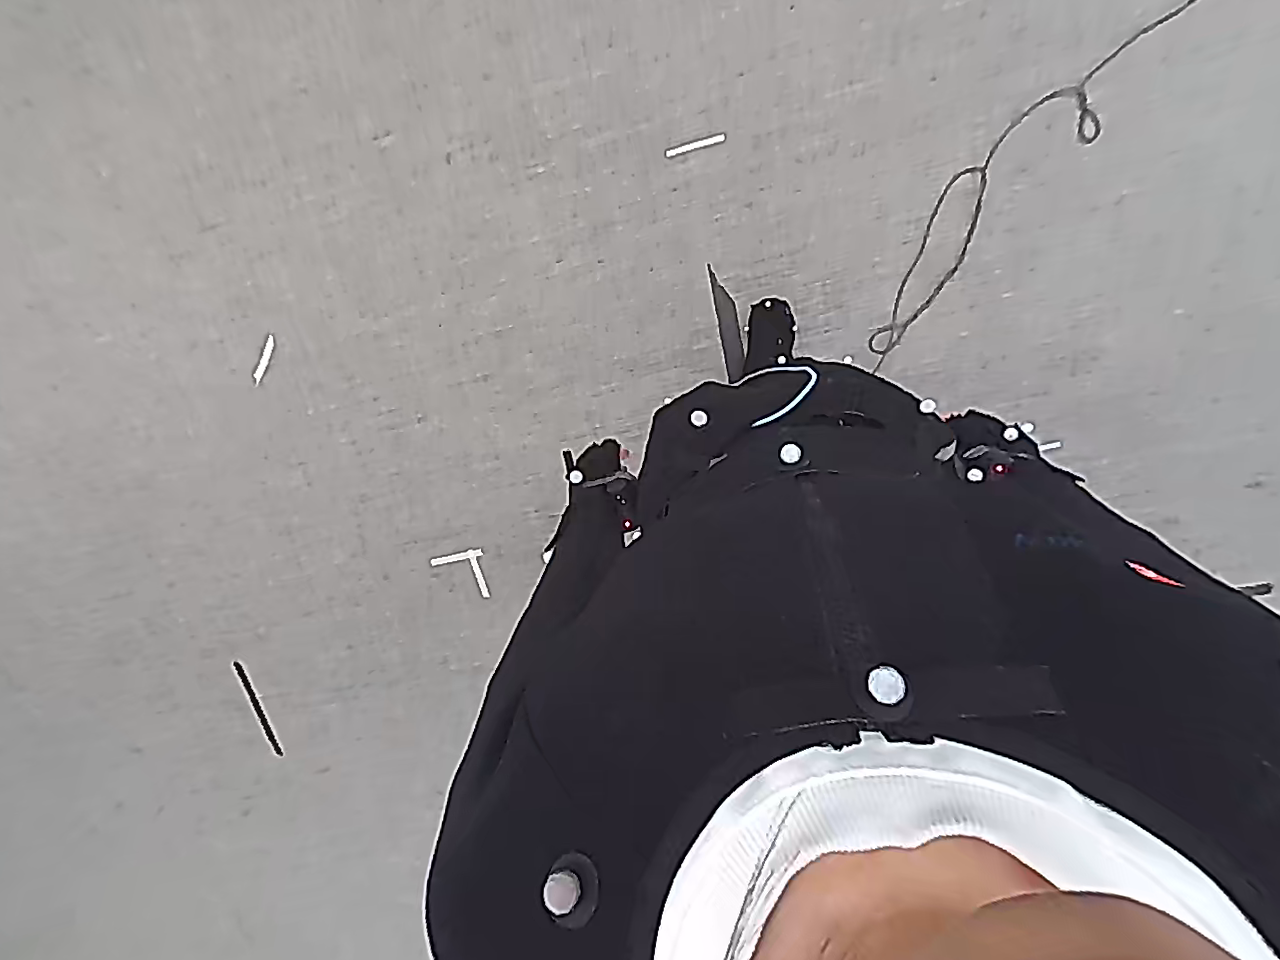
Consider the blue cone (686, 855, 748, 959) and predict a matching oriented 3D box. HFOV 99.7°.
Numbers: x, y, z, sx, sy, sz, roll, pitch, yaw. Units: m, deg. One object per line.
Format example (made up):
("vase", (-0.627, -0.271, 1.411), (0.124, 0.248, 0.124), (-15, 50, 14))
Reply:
("blue cone", (0.229, 1.357, 1.627), (0.192, 0.380, 0.193), (-6, 103, 11))
